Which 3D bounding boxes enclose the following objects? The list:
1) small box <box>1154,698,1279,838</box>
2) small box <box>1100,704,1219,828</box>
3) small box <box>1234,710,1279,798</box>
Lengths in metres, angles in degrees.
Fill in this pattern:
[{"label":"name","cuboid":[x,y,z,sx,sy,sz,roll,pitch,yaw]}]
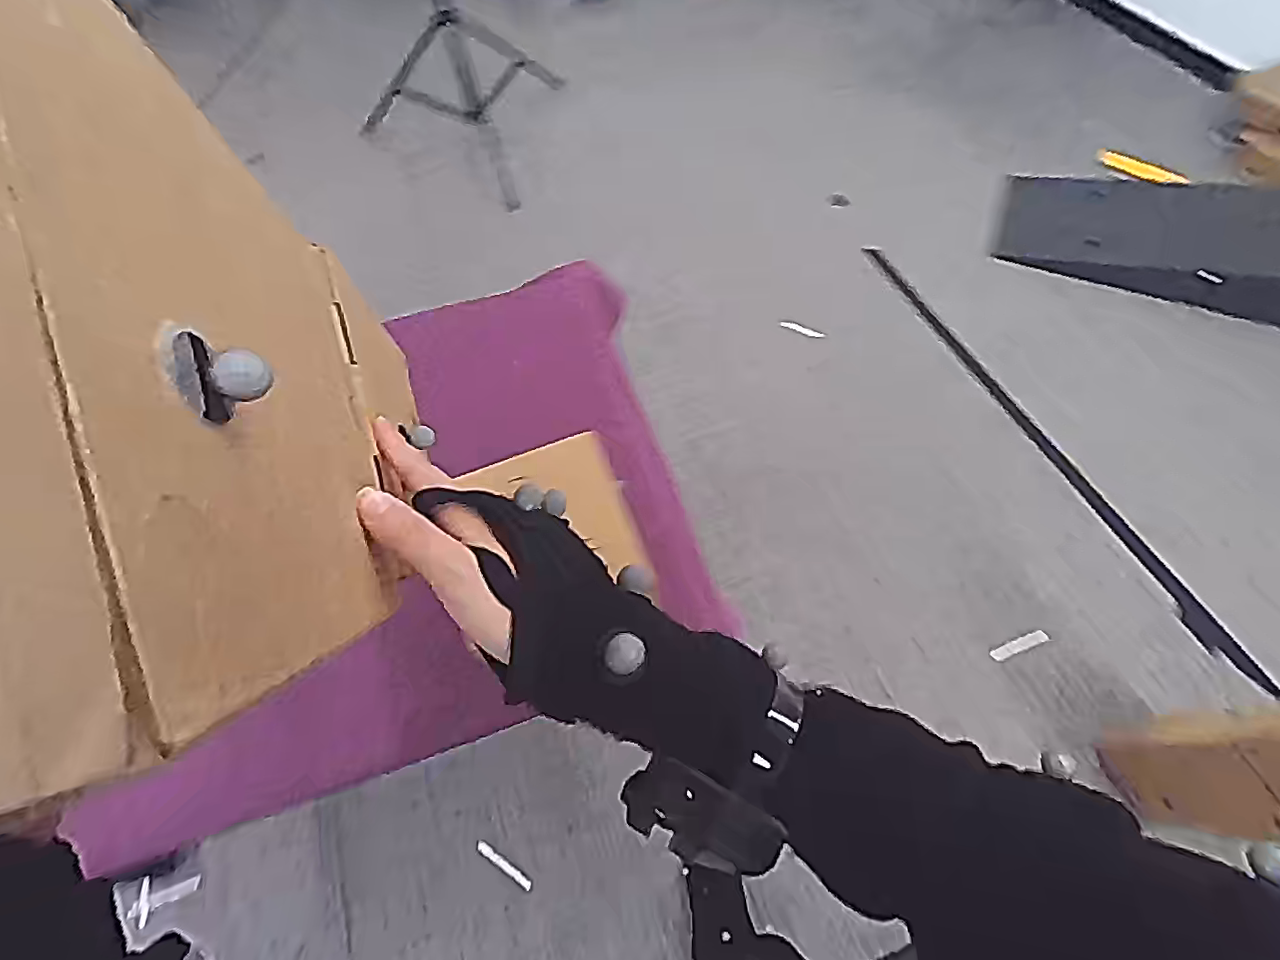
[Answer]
[{"label":"small box","cuboid":[1.086,0.507,0.951,0.168,0.176,0.179,-20,65,-8]},{"label":"small box","cuboid":[1.098,0.576,1.097,0.179,0.176,0.168,-20,64,-10]},{"label":"small box","cuboid":[1.082,0.429,0.806,0.168,0.176,0.179,-19,65,-8]}]
